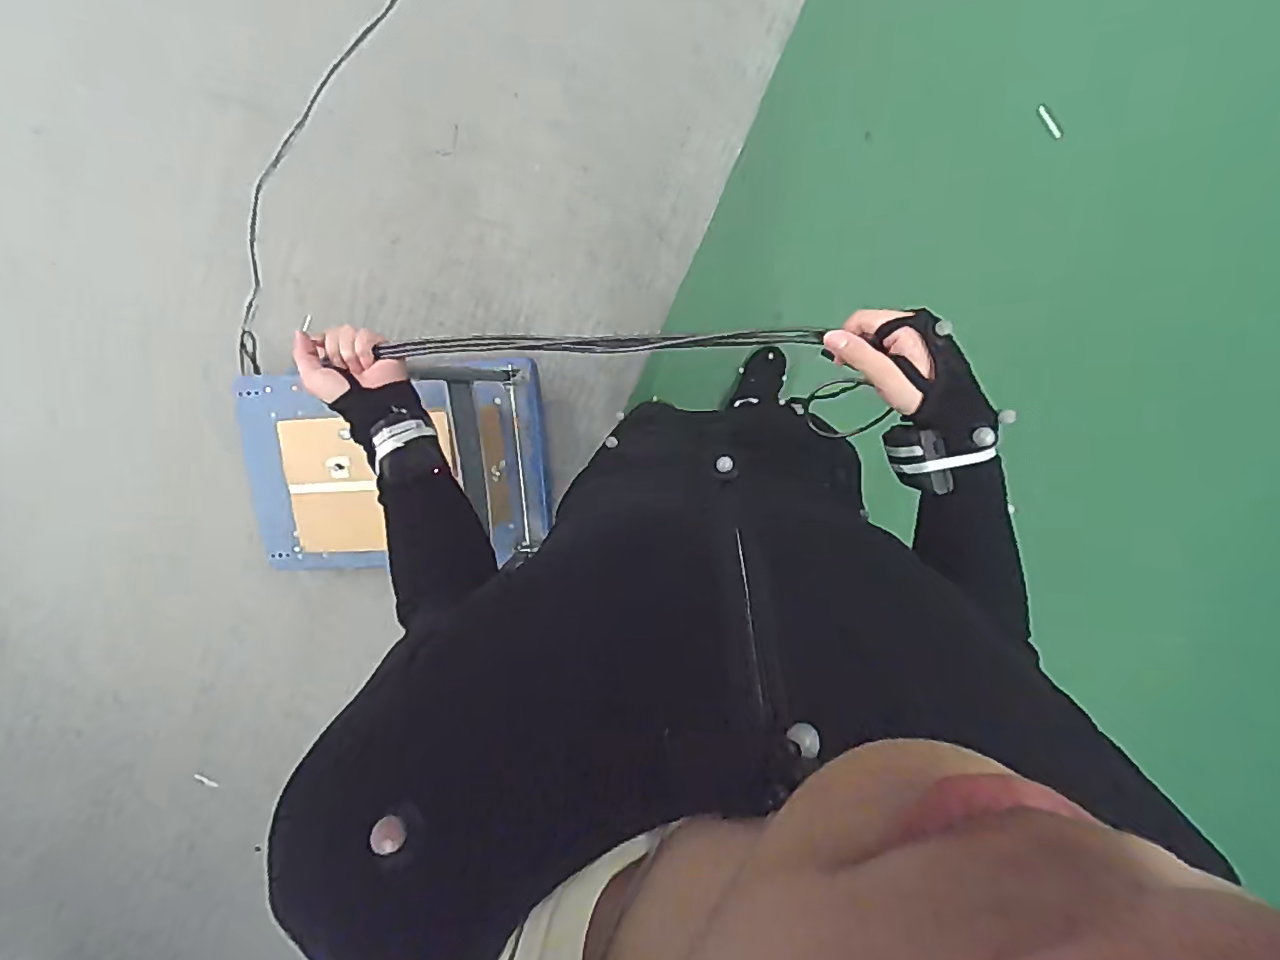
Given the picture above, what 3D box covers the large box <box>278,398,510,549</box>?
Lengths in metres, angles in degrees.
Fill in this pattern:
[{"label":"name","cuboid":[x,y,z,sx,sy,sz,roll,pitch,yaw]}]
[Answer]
[{"label":"large box","cuboid":[-0.581,-0.029,1.348,0.408,0.320,0.320,-2,100,7]}]
